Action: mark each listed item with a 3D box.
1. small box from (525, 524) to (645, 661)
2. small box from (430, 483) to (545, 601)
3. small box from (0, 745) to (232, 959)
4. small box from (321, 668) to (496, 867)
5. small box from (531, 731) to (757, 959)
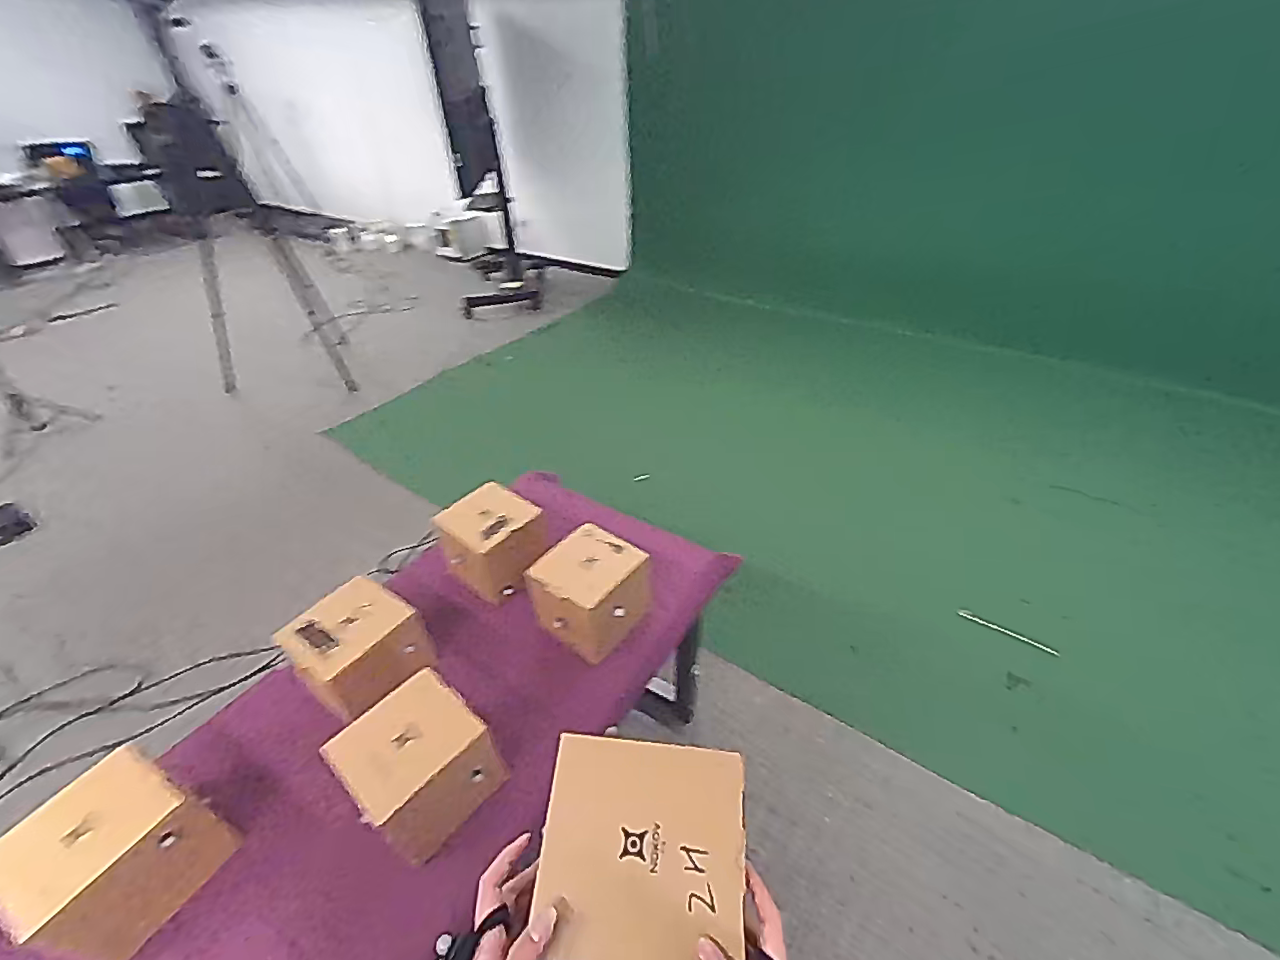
[{"bbox_3d":[-0.101,0.226,1.088,0.168,0.176,0.179,24,46,31],"label":"small box"},{"bbox_3d":[-0.330,0.141,1.206,0.179,0.176,0.168,26,46,31],"label":"small box"},{"bbox_3d":[-0.724,0.517,0.744,0.168,0.176,0.179,18,42,23],"label":"small box"},{"bbox_3d":[-0.340,0.437,0.831,0.168,0.176,0.179,27,47,33],"label":"small box"},{"bbox_3d":[0.012,0.357,0.520,0.179,0.176,0.168,5,54,4],"label":"small box"}]
